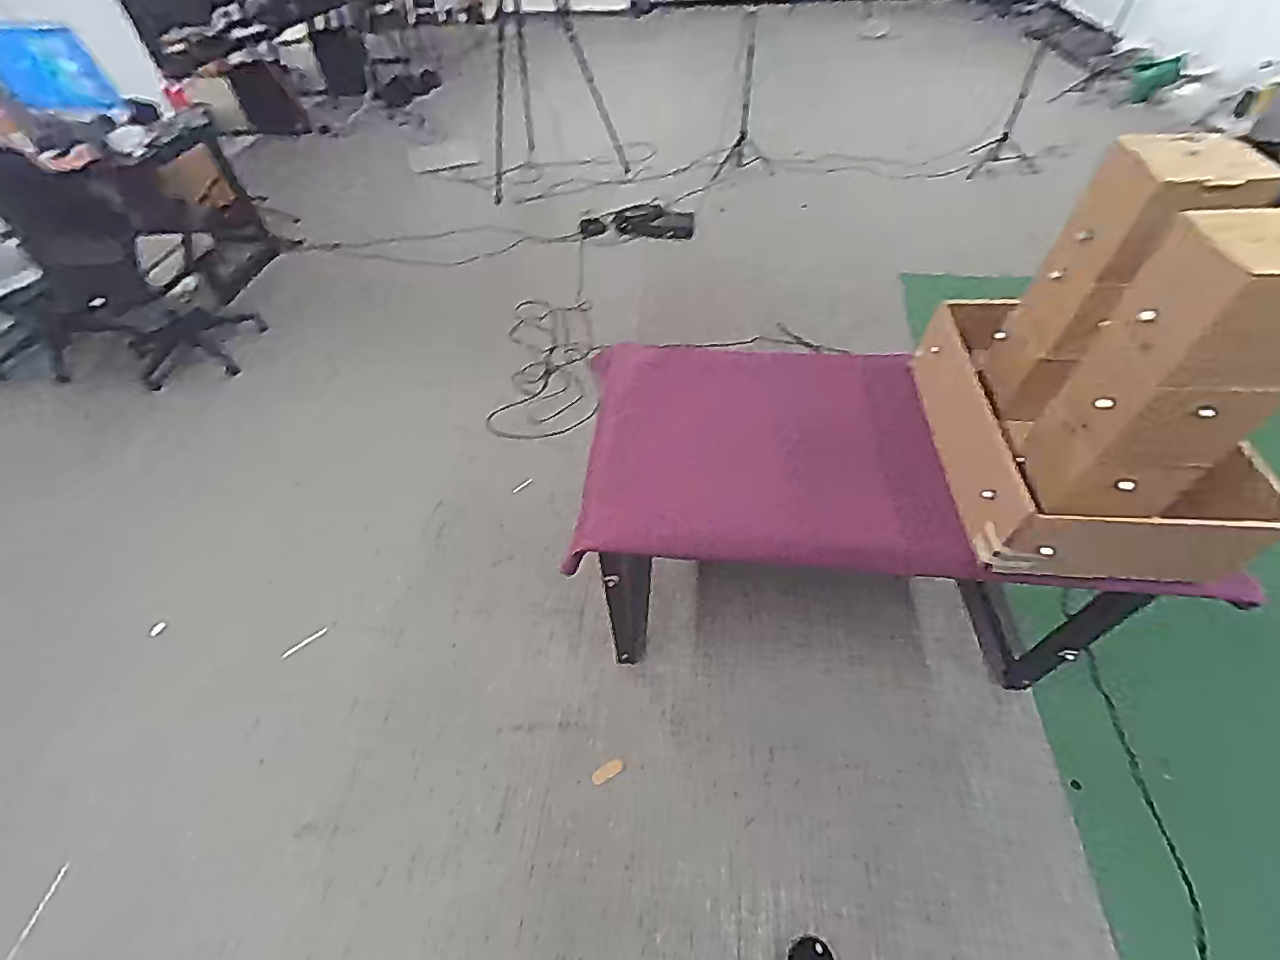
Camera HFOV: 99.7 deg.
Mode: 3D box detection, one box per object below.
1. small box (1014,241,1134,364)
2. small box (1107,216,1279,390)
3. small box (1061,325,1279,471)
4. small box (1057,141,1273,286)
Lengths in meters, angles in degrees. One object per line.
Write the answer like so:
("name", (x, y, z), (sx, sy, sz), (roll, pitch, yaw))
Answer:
("small box", (0.860, -0.334, 1.031), (0.168, 0.176, 0.179), (4, 51, 7))
("small box", (0.809, -0.238, 0.739), (0.179, 0.176, 0.168), (3, 50, 8))
("small box", (0.819, -0.129, 0.862), (0.179, 0.176, 0.168), (4, 51, 8))
("small box", (0.853, -0.439, 0.904), (0.168, 0.176, 0.179), (4, 52, 7))
